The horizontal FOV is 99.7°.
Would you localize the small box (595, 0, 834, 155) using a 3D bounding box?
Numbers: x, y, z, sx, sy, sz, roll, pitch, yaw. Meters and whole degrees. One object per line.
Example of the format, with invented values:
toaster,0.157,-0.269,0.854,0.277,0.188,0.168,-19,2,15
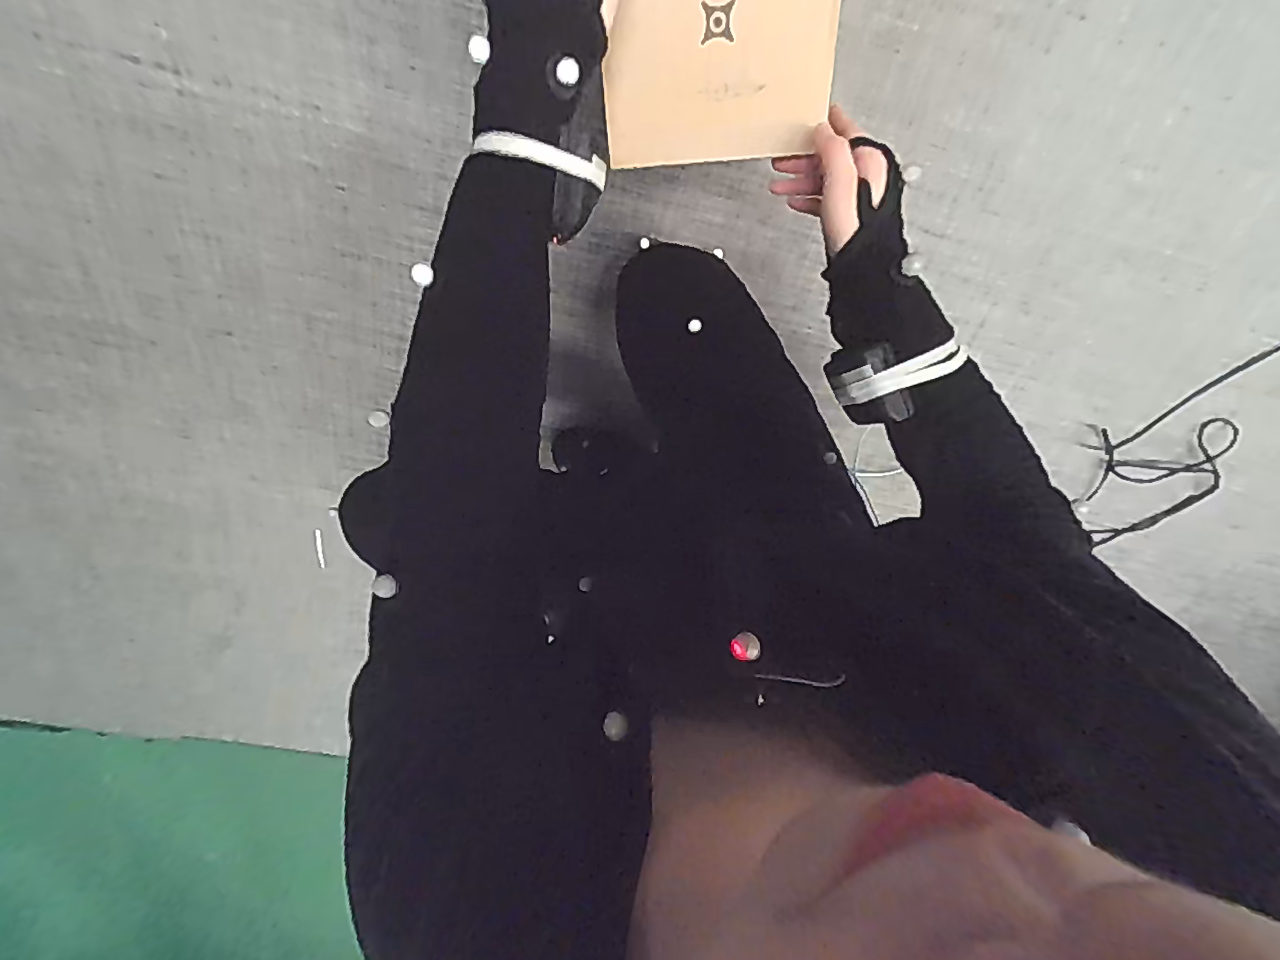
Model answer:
small box,0.052,-0.372,0.432,0.168,0.176,0.179,-2,127,4
